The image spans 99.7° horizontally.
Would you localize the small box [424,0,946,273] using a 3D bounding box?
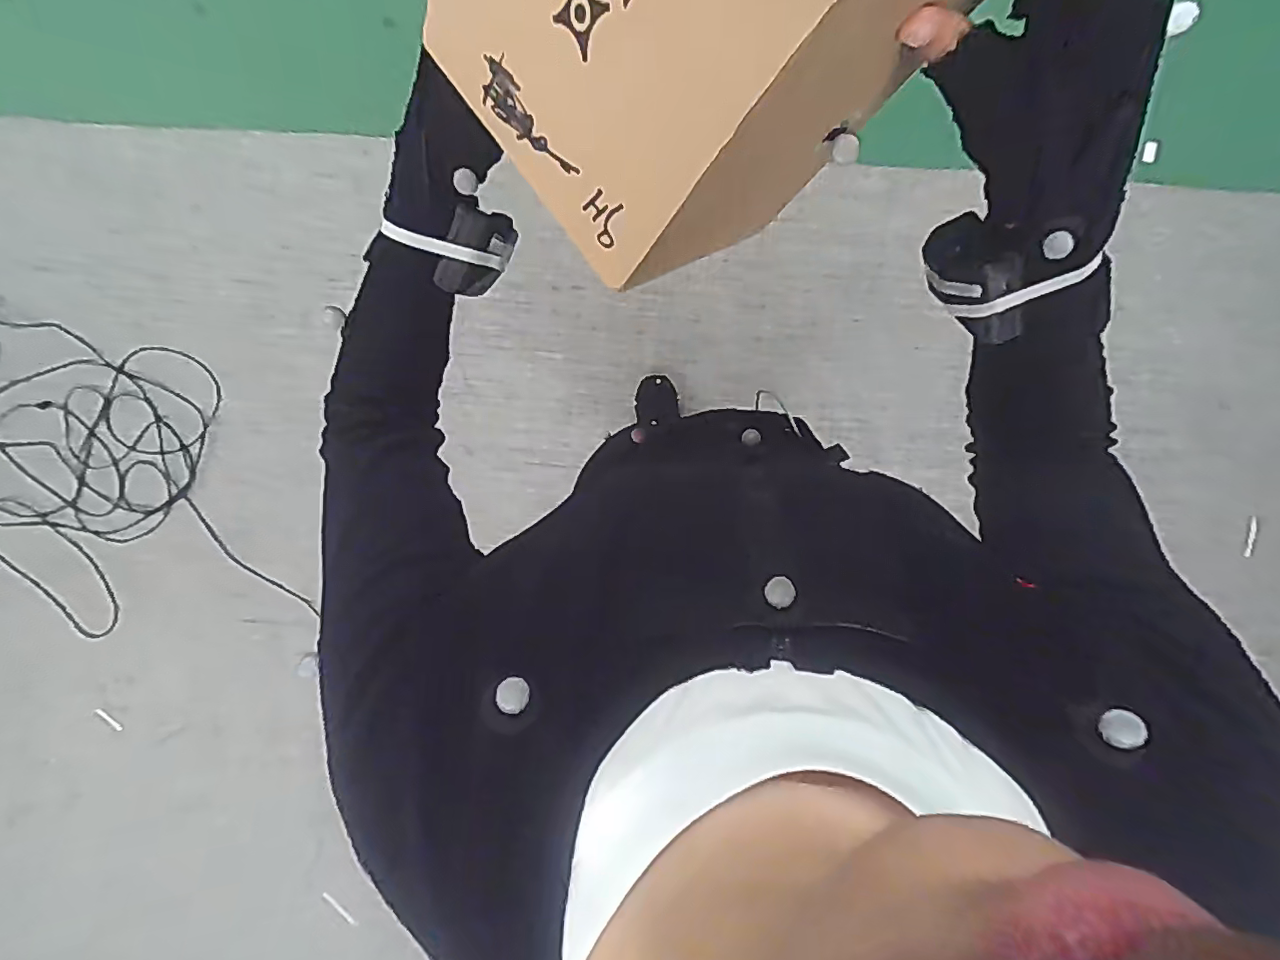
[{"bbox_3d":[0.029,-0.243,0.273,0.176,0.179,0.168,-38,92,-40],"label":"small box"}]
